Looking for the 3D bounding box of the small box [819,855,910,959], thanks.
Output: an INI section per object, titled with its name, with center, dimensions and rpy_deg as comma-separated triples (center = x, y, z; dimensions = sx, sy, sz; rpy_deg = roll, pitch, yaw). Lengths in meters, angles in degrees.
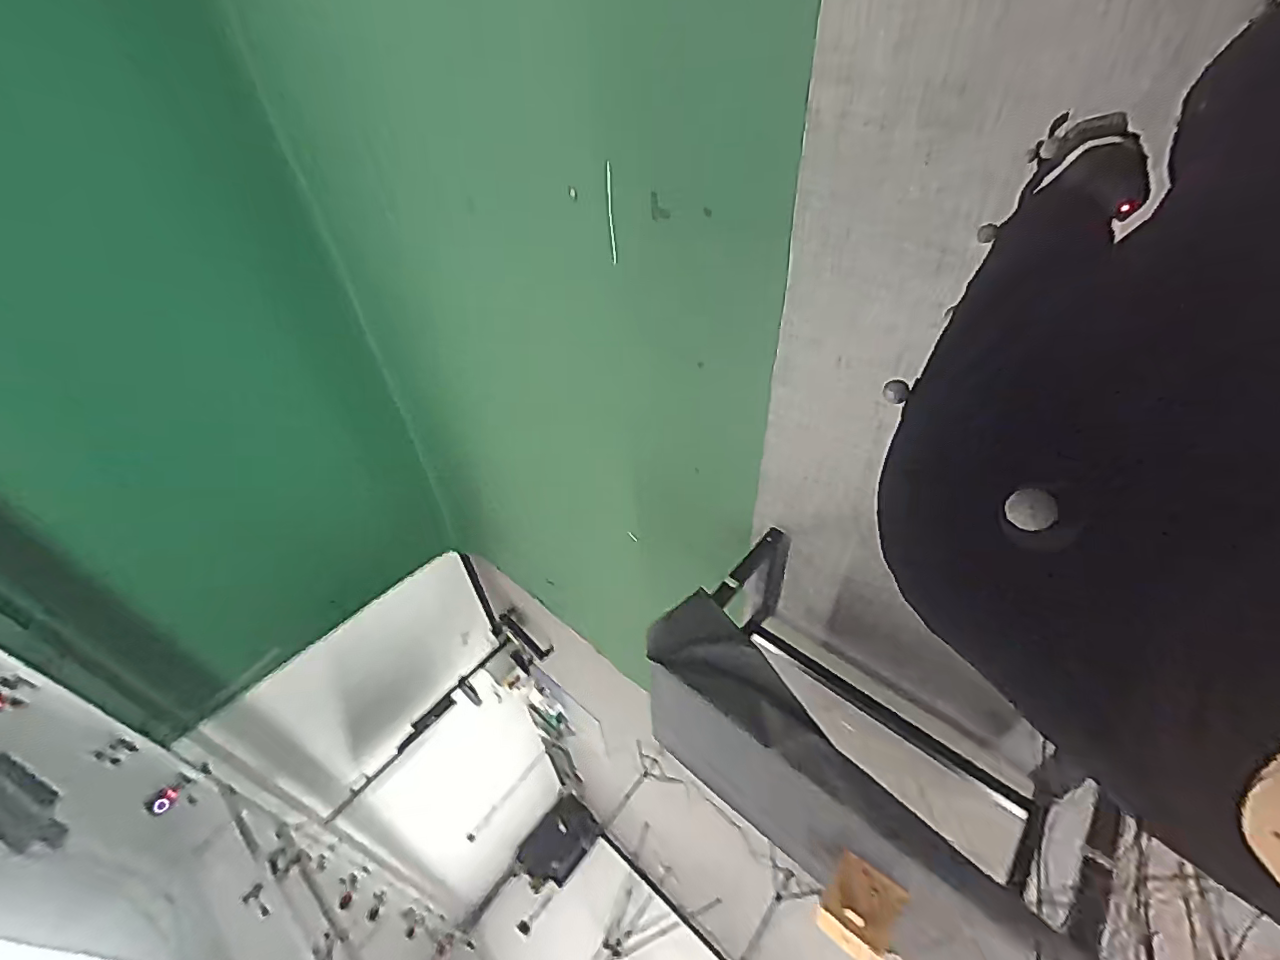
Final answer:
[small box]
center = 0.593, 1.148, 1.430
dimensions = 0.168, 0.176, 0.179
rpy_deg = 23, 138, 37
